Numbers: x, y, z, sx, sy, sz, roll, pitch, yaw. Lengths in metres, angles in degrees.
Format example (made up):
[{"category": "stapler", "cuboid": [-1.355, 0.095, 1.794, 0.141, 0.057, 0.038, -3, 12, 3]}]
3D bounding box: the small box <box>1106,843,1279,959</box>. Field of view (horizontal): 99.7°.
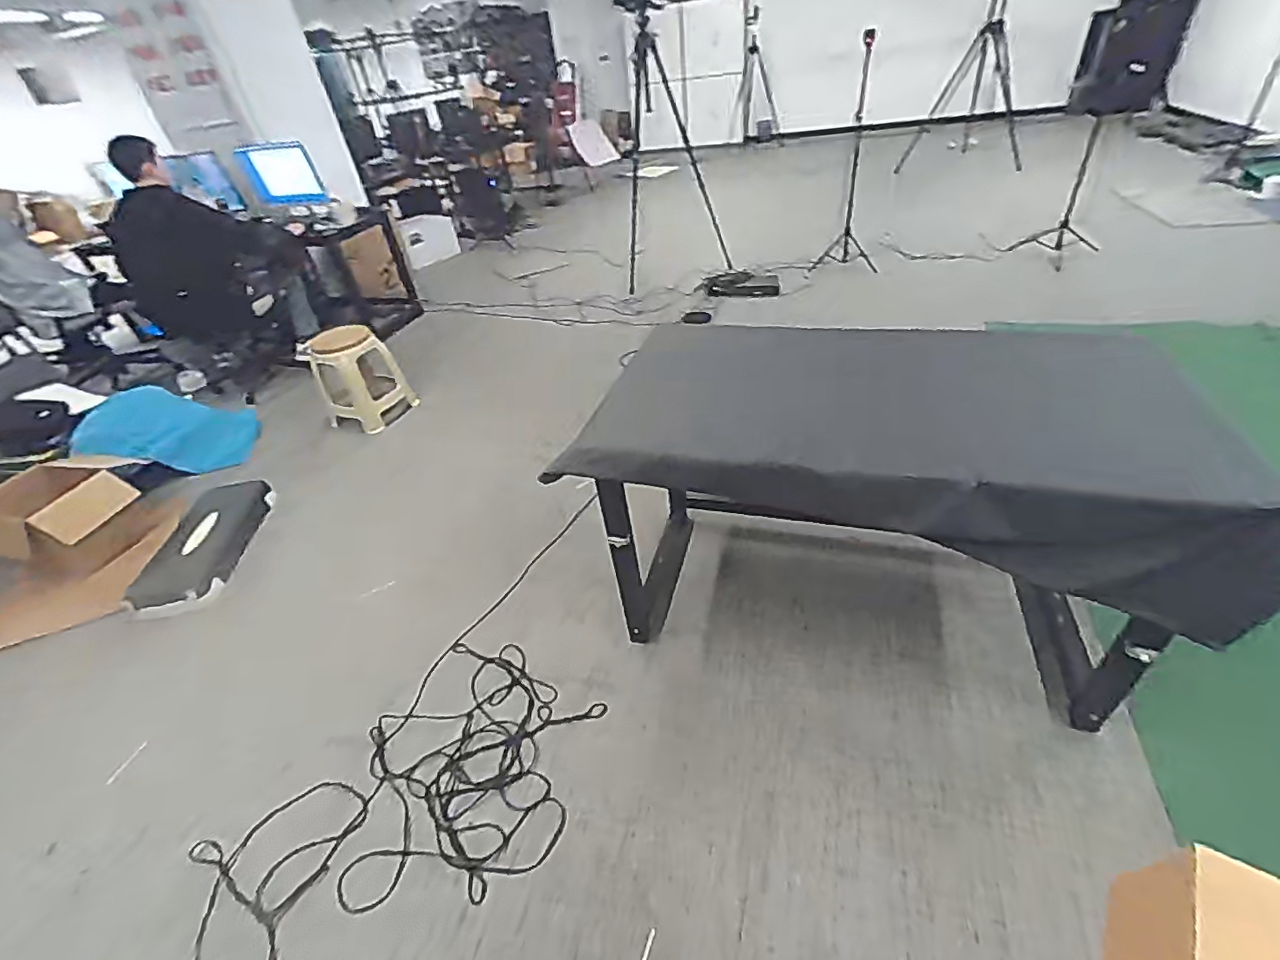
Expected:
[{"category": "small box", "cuboid": [0.463, 0.411, 0.386, 0.168, 0.176, 0.179, 18, 53, 30]}]
